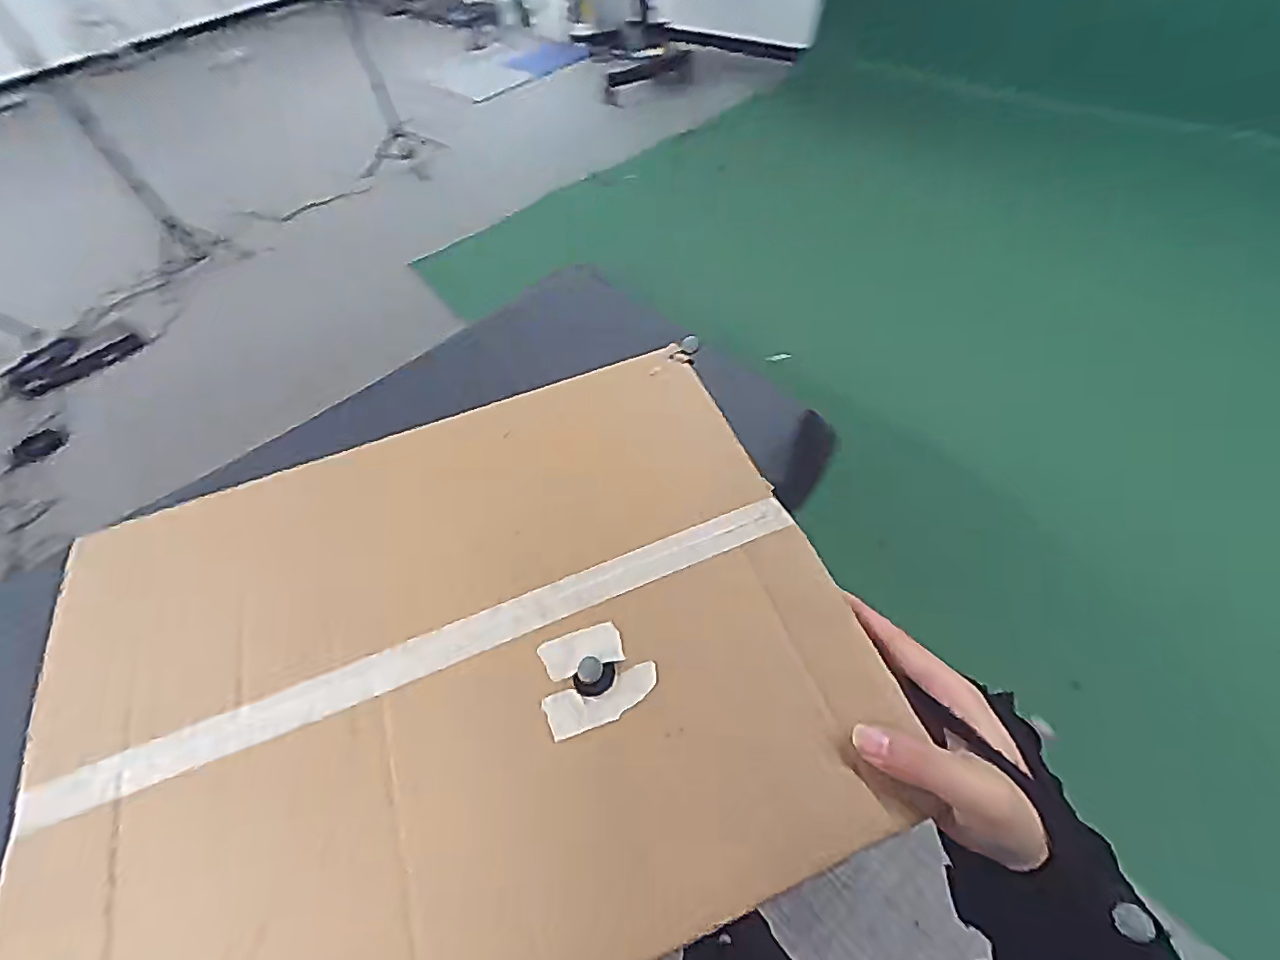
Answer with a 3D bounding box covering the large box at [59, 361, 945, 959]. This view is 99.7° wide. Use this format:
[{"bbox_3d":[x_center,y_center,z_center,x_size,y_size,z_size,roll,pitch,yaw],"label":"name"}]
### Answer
[{"bbox_3d":[-0.084,0.171,0.426,0.408,0.320,0.320,-19,59,-10],"label":"large box"}]
